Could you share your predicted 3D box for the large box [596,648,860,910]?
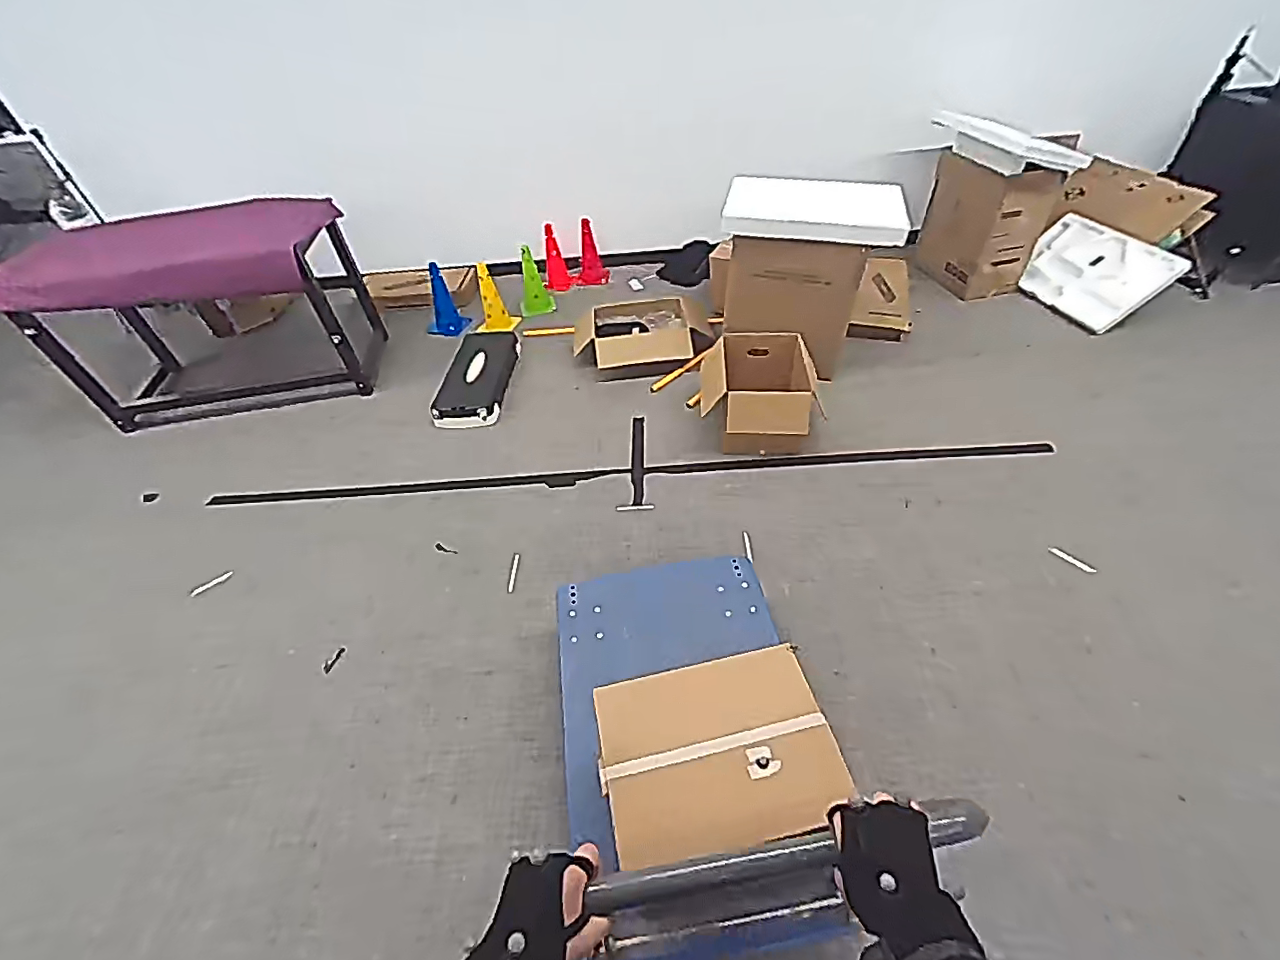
[{"bbox_3d":[0.146,0.588,1.071,0.408,0.320,0.320,-11,45,-7],"label":"large box"}]
